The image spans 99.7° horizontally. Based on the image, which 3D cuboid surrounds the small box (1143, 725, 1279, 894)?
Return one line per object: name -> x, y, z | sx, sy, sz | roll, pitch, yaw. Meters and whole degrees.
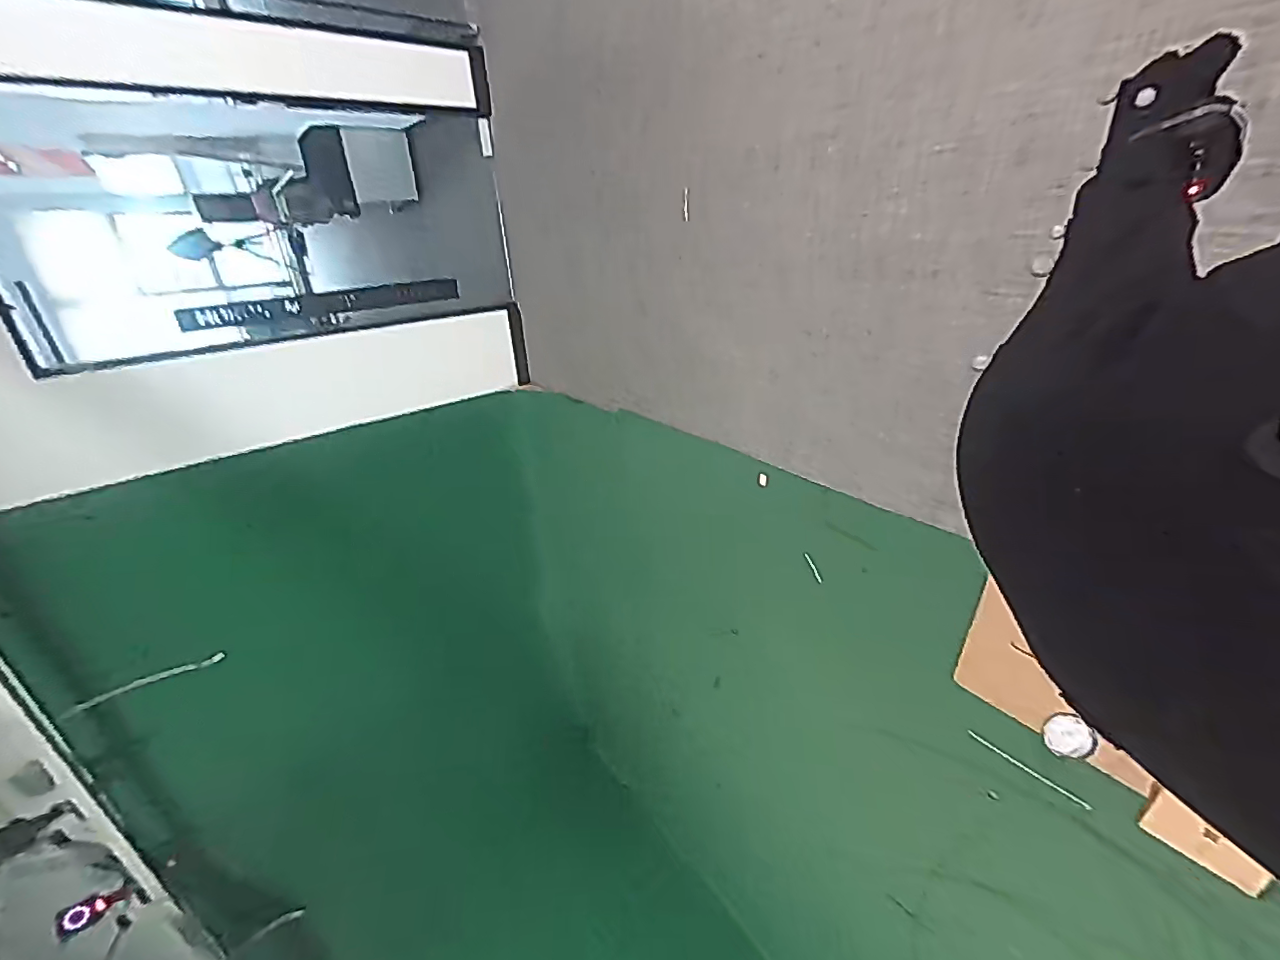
small box -> 1.103, 0.606, 1.017 | 0.168, 0.176, 0.179 | 29, 131, 43
